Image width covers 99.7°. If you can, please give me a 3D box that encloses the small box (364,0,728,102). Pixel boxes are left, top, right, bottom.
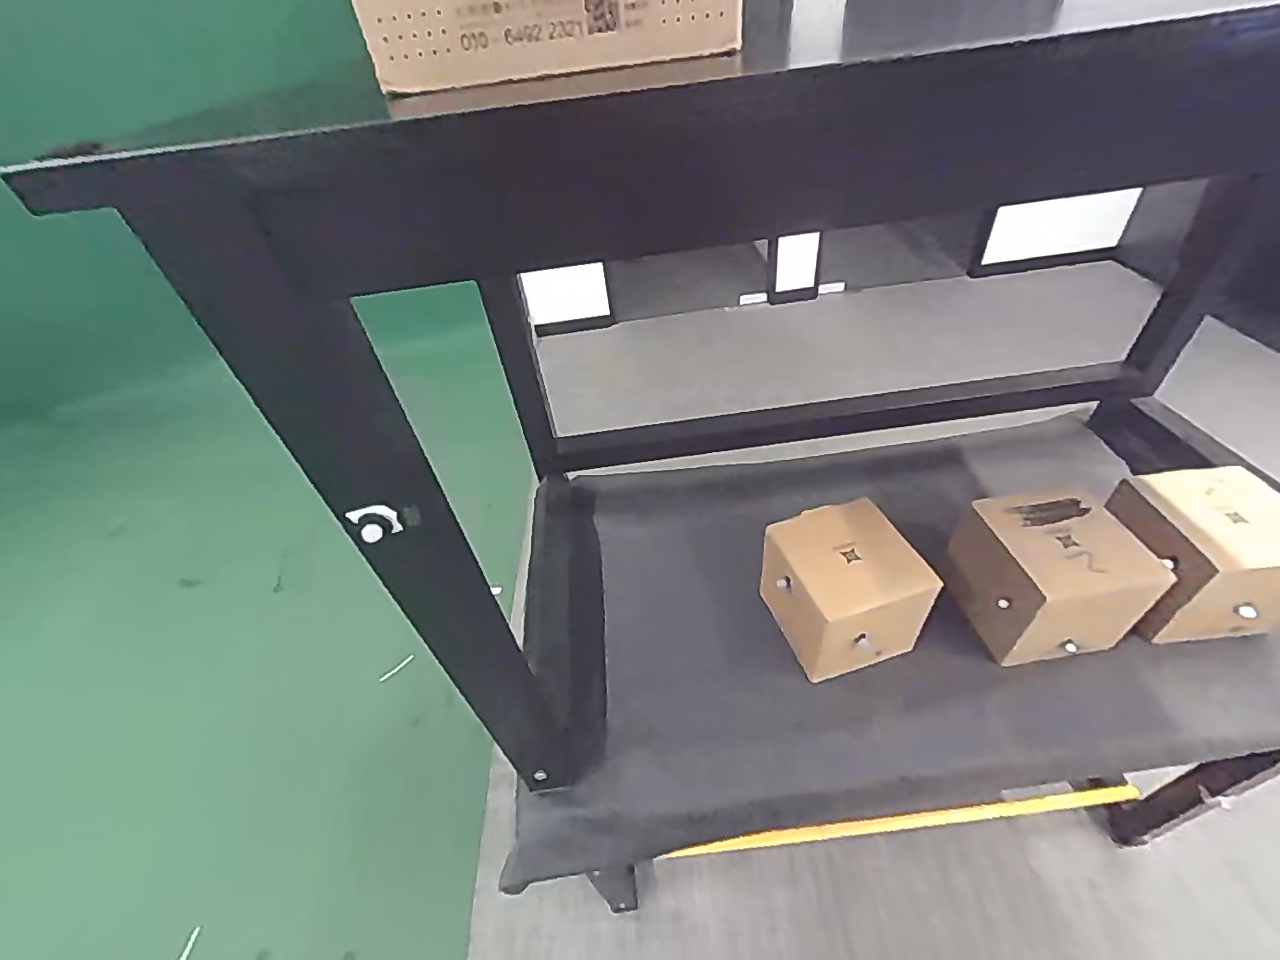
[{"bbox_3d":[-0.051,-0.298,0.260,0.168,0.176,0.179,-7,43,1],"label":"small box"}]

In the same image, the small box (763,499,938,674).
[{"bbox_3d":[0.292,0.161,0.794,0.168,0.176,0.179,-15,42,-8],"label":"small box"}]
